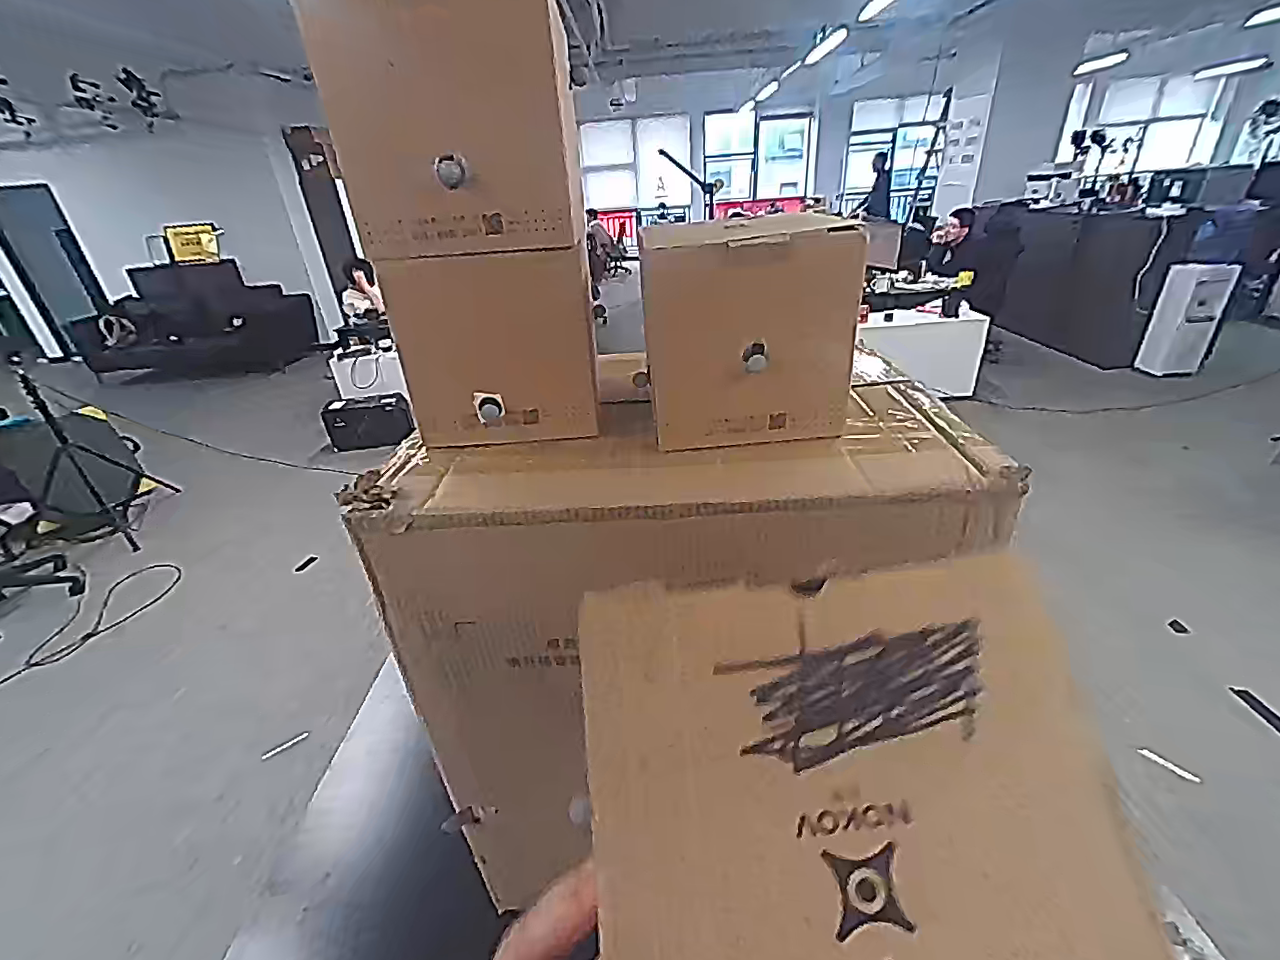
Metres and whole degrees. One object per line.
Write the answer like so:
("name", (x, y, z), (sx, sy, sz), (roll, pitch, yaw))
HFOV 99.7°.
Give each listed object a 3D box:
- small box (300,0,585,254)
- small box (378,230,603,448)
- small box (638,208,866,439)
("small box", (-0.139, -0.288, 0.453), (0.168, 0.176, 0.179), (-4, 29, 0))
("small box", (-0.127, -0.145, 0.535), (0.168, 0.176, 0.179), (-6, 30, -2))
("small box", (0.088, -0.144, 0.500), (0.168, 0.176, 0.179), (-4, 31, 0))
